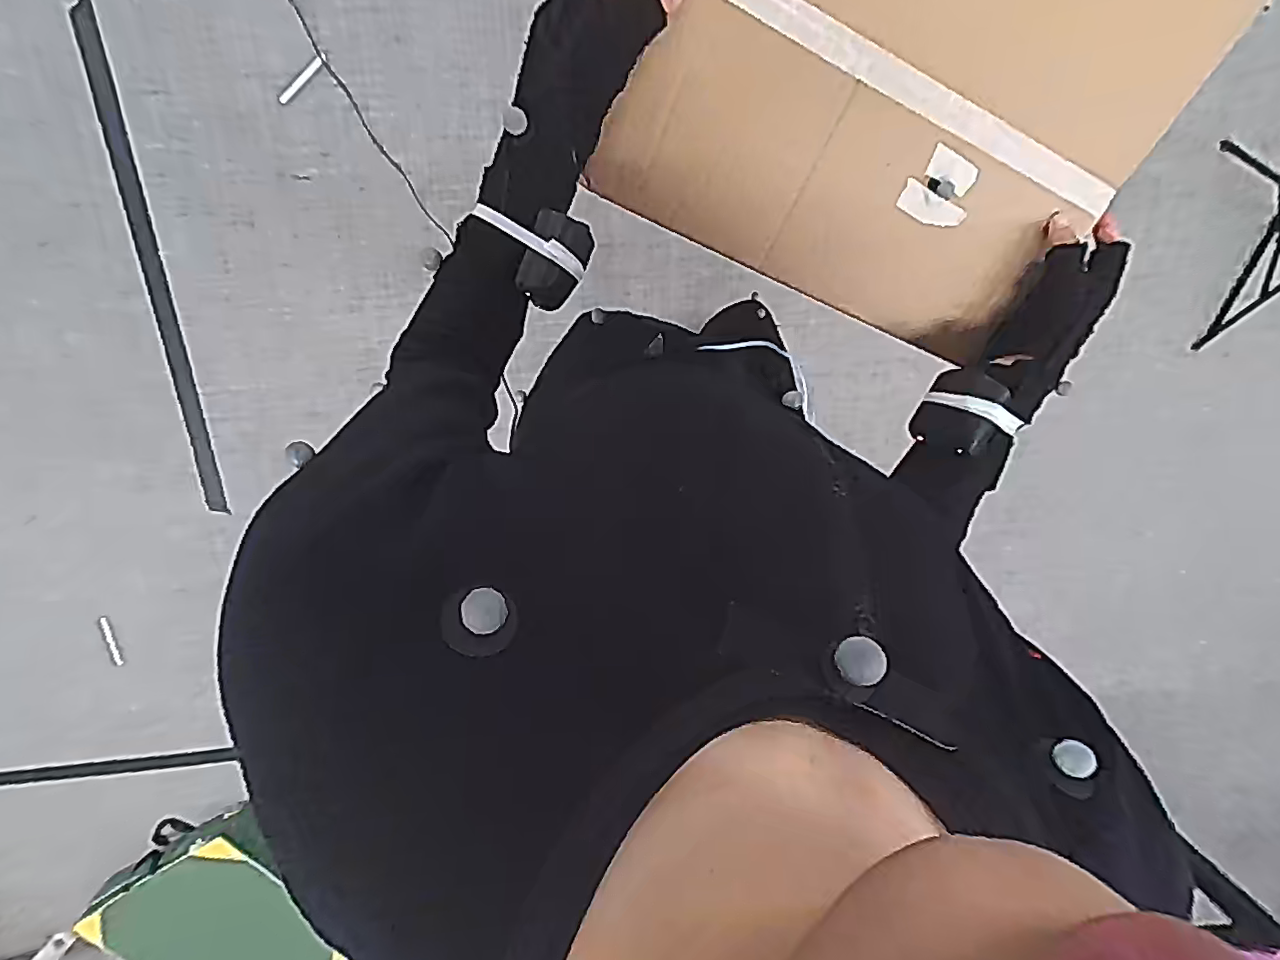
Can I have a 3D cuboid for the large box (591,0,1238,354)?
[{"bbox_3d":[0.191,-0.383,0.539,0.408,0.320,0.320,20,122,-14],"label":"large box"}]
